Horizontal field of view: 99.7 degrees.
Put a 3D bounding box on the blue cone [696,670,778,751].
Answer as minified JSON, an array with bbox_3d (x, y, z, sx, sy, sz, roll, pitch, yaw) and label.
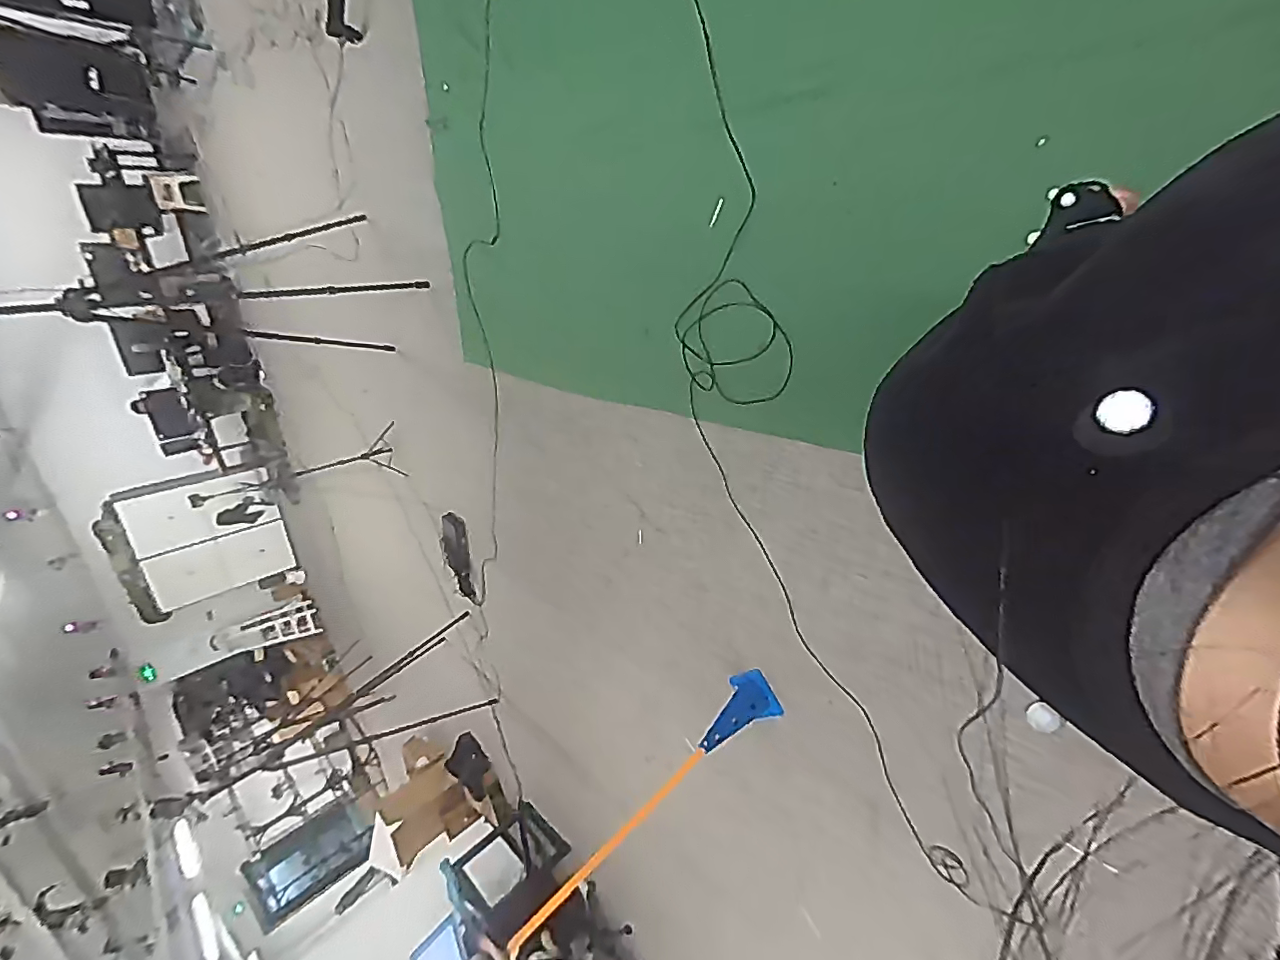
[{"bbox_3d":[0.355,0.939,2.129,0.192,0.380,0.193,57,140,9],"label":"blue cone"}]
